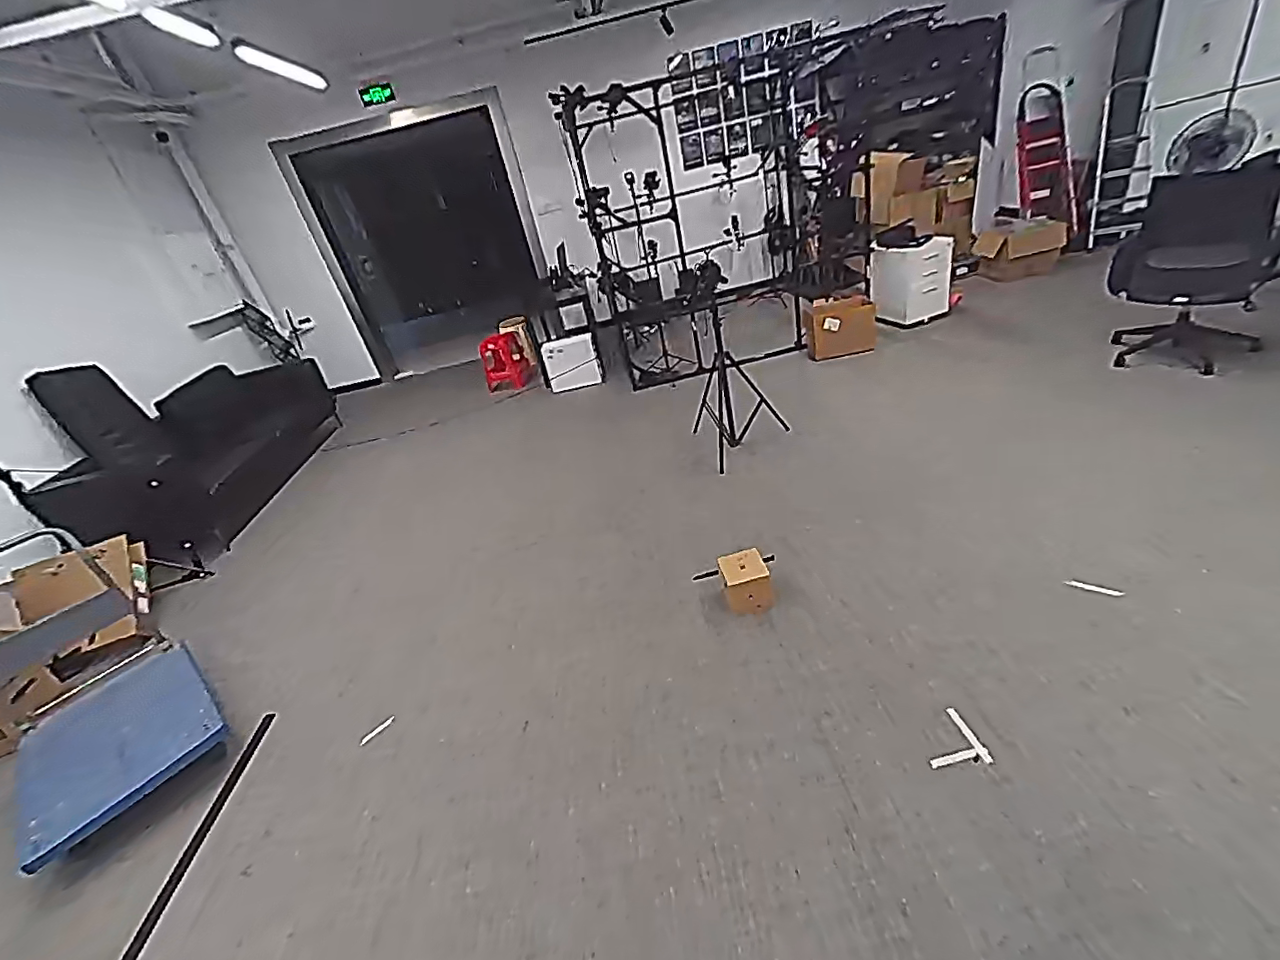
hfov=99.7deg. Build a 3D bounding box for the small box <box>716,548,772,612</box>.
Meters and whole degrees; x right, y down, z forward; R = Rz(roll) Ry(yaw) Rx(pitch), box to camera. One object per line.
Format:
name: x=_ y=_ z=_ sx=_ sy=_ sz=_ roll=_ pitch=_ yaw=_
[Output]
small box: x=0.414 y=0.402 z=2.141 sx=0.168 sy=0.176 sz=0.179 roll=-15 pitch=29 yaw=-1
